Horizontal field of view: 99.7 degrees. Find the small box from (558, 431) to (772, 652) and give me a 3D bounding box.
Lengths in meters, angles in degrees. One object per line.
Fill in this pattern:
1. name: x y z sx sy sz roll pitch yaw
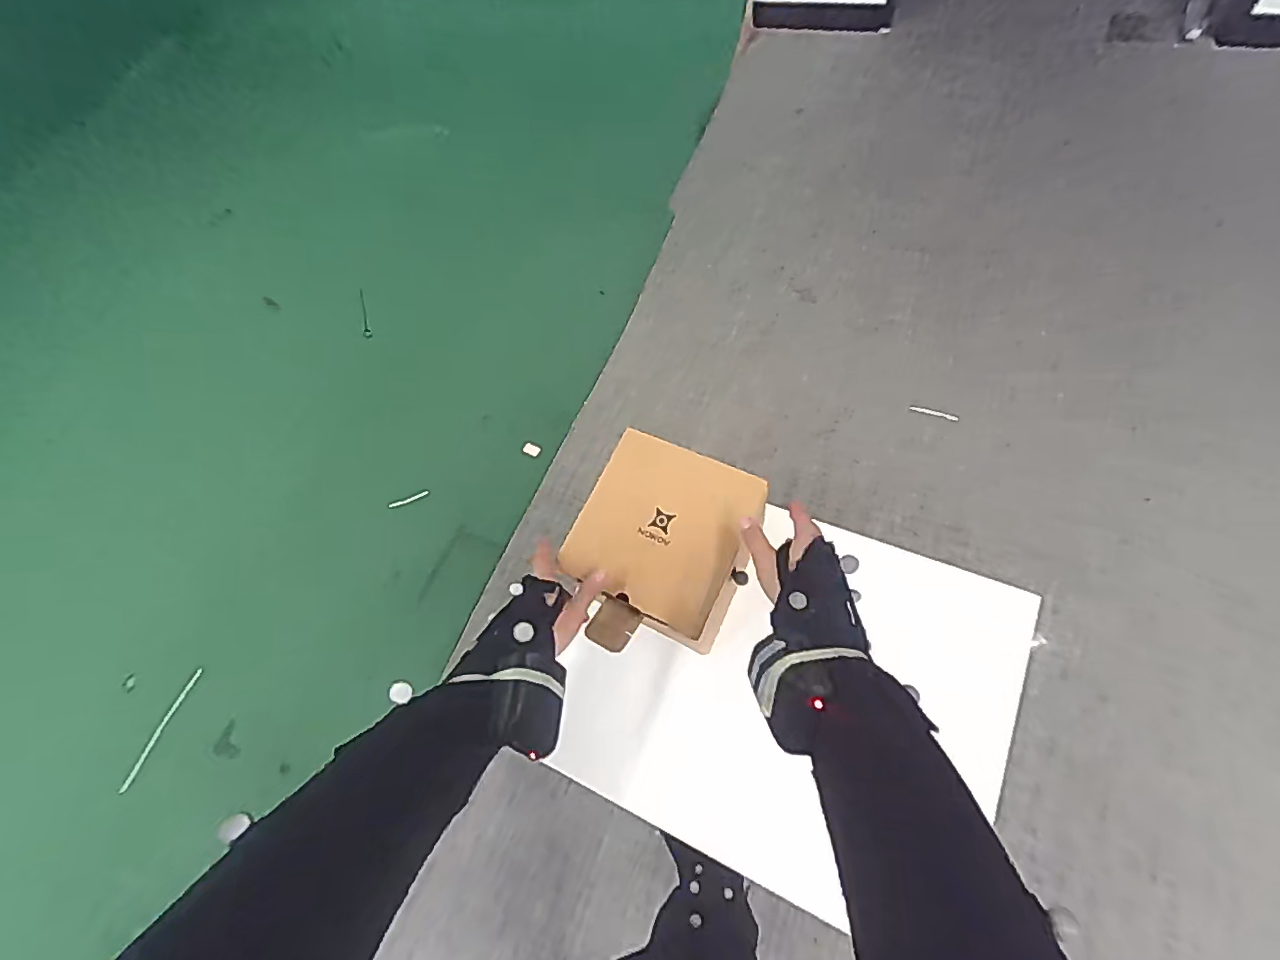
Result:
1. small box: 0.035 0.077 0.618 0.168 0.176 0.179 23 75 17
